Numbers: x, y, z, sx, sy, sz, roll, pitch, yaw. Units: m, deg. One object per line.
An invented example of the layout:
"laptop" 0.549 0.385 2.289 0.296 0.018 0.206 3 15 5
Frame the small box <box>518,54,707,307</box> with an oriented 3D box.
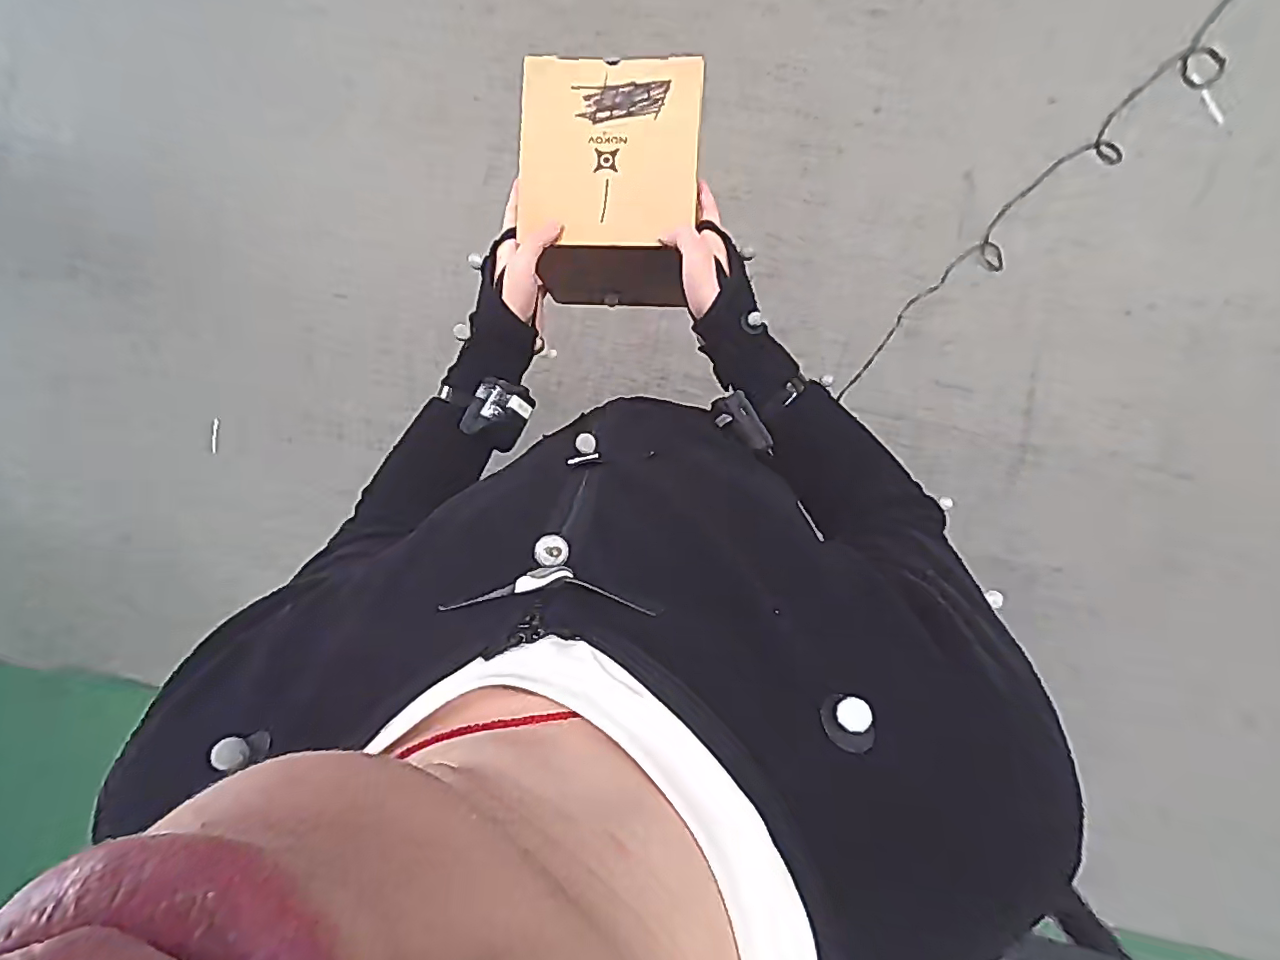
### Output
"small box" -0.021 -0.300 0.571 0.168 0.176 0.179 3 90 4
